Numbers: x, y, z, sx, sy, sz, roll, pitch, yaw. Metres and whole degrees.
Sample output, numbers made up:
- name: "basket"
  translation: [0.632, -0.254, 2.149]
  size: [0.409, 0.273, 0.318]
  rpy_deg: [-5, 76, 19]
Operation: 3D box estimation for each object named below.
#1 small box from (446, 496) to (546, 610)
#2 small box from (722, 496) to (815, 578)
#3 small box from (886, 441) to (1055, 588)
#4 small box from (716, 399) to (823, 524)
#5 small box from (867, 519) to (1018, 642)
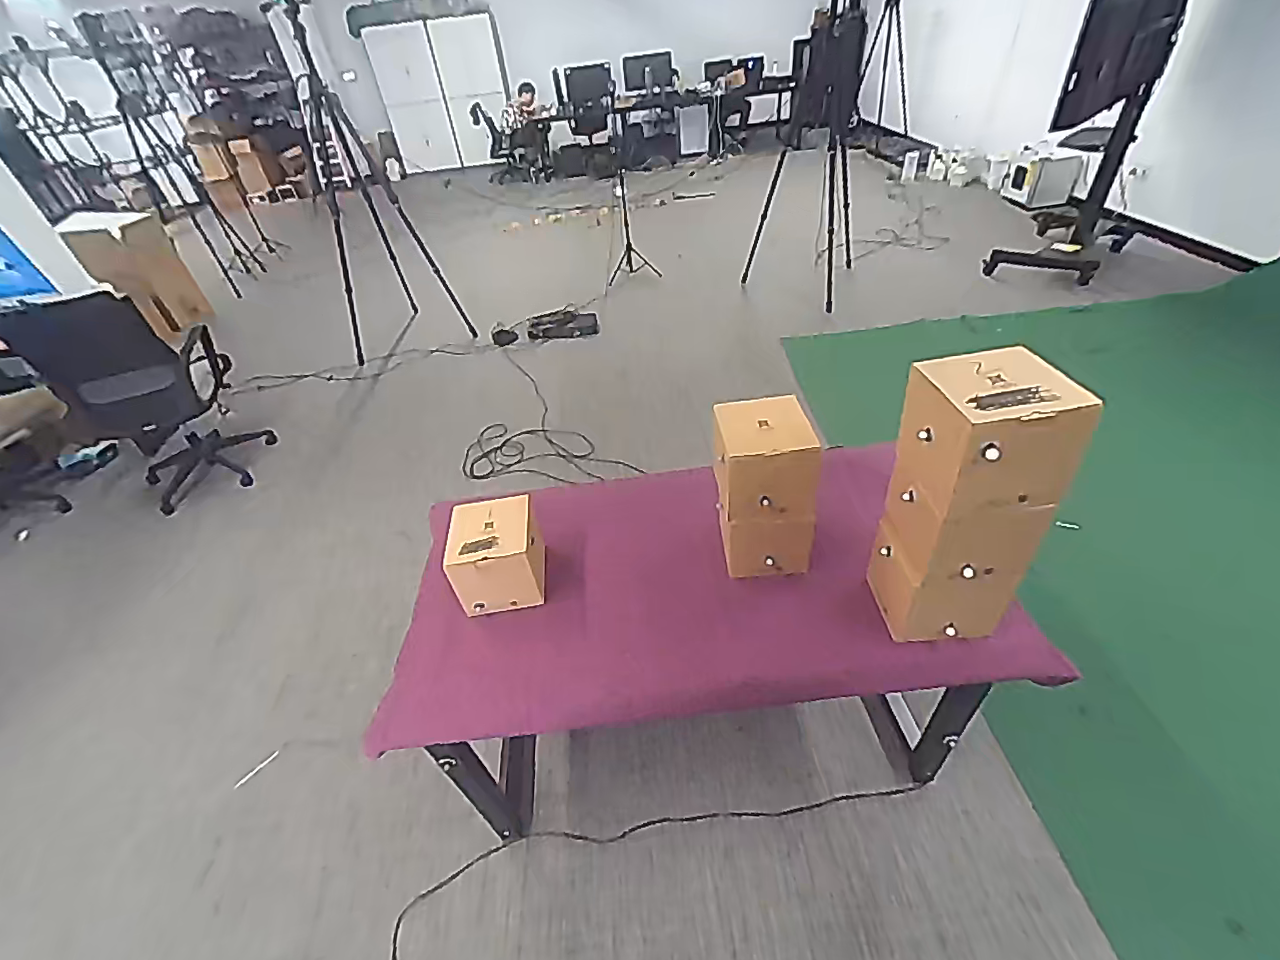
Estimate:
- name: "small box"
  translation: [-0.299, 0.162, 1.162]
  size: [0.168, 0.176, 0.179]
  rpy_deg: [-8, 40, -2]
- name: "small box"
  translation: [0.266, 0.088, 1.164]
  size: [0.168, 0.176, 0.179]
  rpy_deg: [-5, 41, 4]
- name: "small box"
  translation: [0.532, 0.057, 0.905]
  size: [0.168, 0.176, 0.179]
  rpy_deg: [-6, 40, 5]
- name: "small box"
  translation: [0.242, -0.037, 1.062]
  size: [0.168, 0.176, 0.179]
  rpy_deg: [-7, 41, 1]
- name: "small box"
  translation: [0.547, 0.184, 1.006]
  size: [0.179, 0.176, 0.168]
  rpy_deg: [-5, 39, 4]
